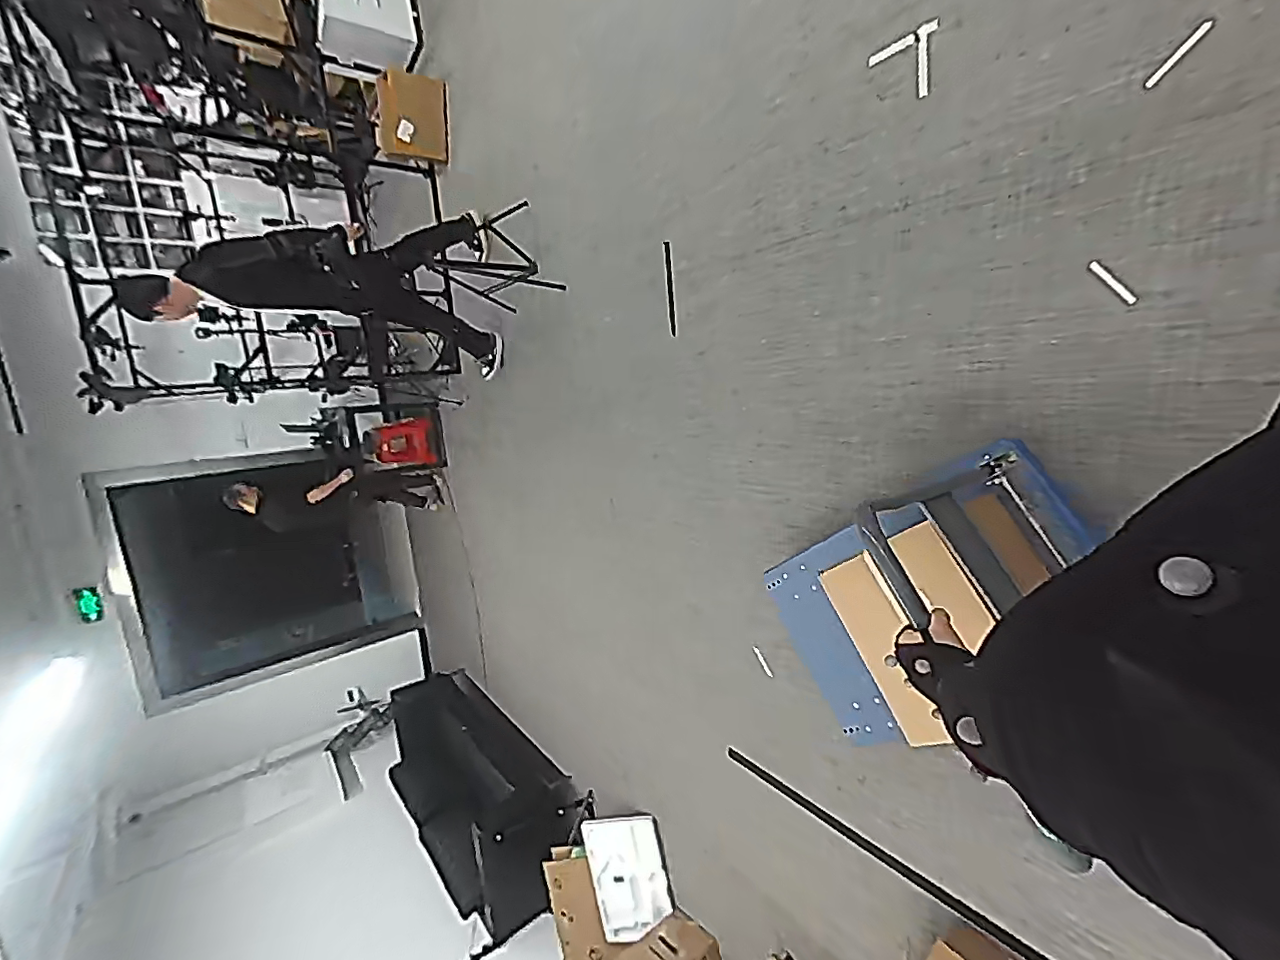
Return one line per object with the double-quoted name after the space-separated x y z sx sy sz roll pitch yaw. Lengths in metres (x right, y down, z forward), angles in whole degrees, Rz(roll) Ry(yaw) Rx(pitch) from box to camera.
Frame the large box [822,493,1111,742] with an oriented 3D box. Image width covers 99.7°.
0.695 0.291 1.183 0.320 0.320 0.408 -46 62 48 "large box"
